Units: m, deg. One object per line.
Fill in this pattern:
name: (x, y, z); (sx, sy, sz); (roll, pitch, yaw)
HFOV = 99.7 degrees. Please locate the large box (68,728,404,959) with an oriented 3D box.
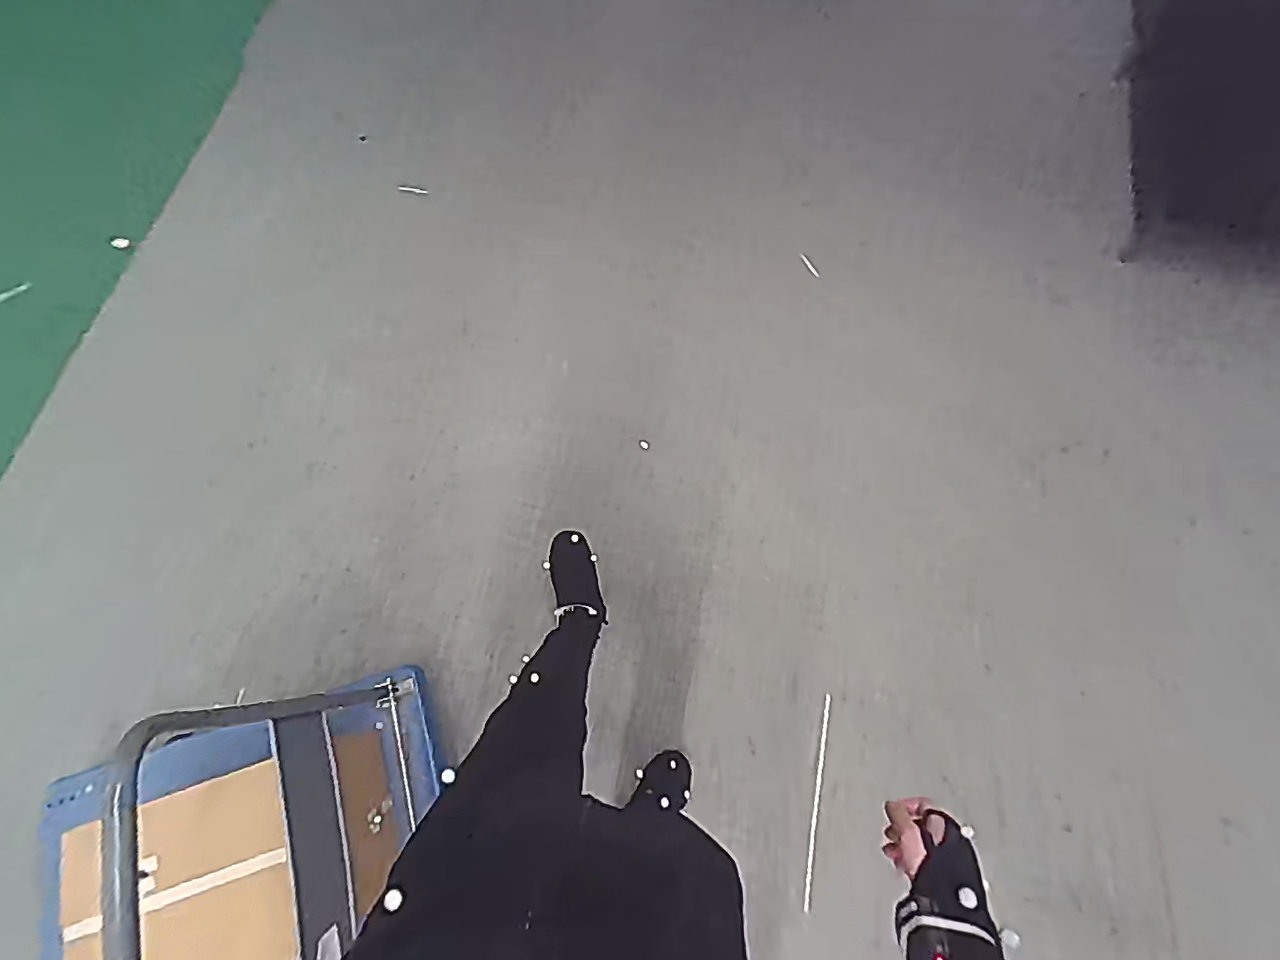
large box: (-0.741, 0.722, 1.042); (0.408, 0.320, 0.320); (-18, 73, -3)
